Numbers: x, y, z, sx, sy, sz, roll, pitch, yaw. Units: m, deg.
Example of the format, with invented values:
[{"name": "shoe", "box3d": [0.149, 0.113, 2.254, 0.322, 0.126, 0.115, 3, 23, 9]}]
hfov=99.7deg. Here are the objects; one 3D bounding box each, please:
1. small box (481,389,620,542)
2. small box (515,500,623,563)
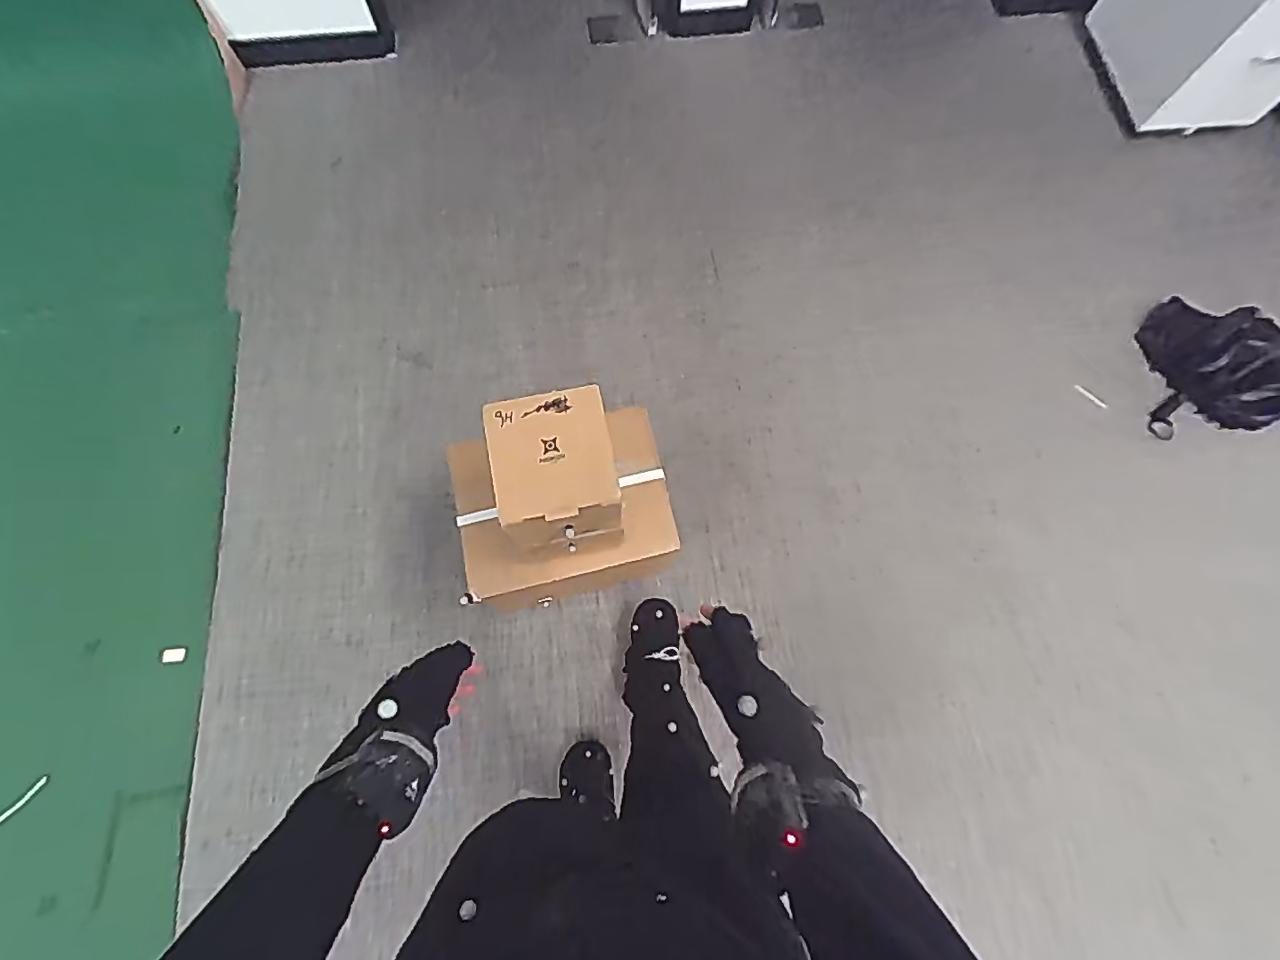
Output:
[{"name": "small box", "box3d": [-0.123, -0.010, 0.801, 0.168, 0.176, 0.179, -11, 75, -5]}, {"name": "small box", "box3d": [-0.128, 0.044, 0.955, 0.179, 0.176, 0.168, -11, 75, -6]}]
